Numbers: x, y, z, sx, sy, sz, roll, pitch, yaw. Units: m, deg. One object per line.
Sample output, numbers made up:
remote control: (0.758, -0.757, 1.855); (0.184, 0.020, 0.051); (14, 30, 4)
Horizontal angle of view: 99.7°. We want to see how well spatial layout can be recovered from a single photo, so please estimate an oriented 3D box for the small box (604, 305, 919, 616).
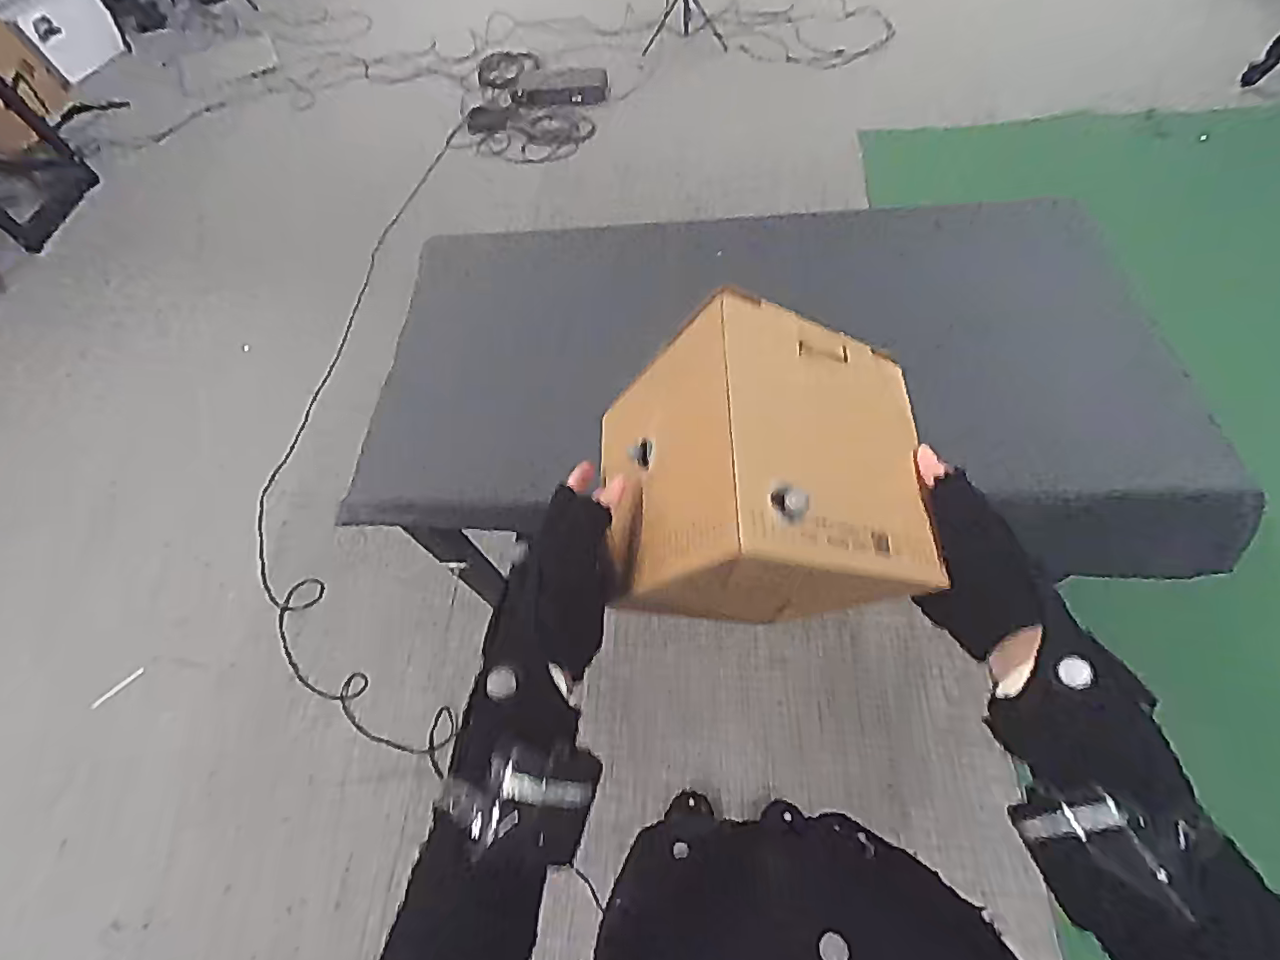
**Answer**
small box: (0.080, 0.005, 0.420); (0.168, 0.179, 0.176); (13, 61, -25)
